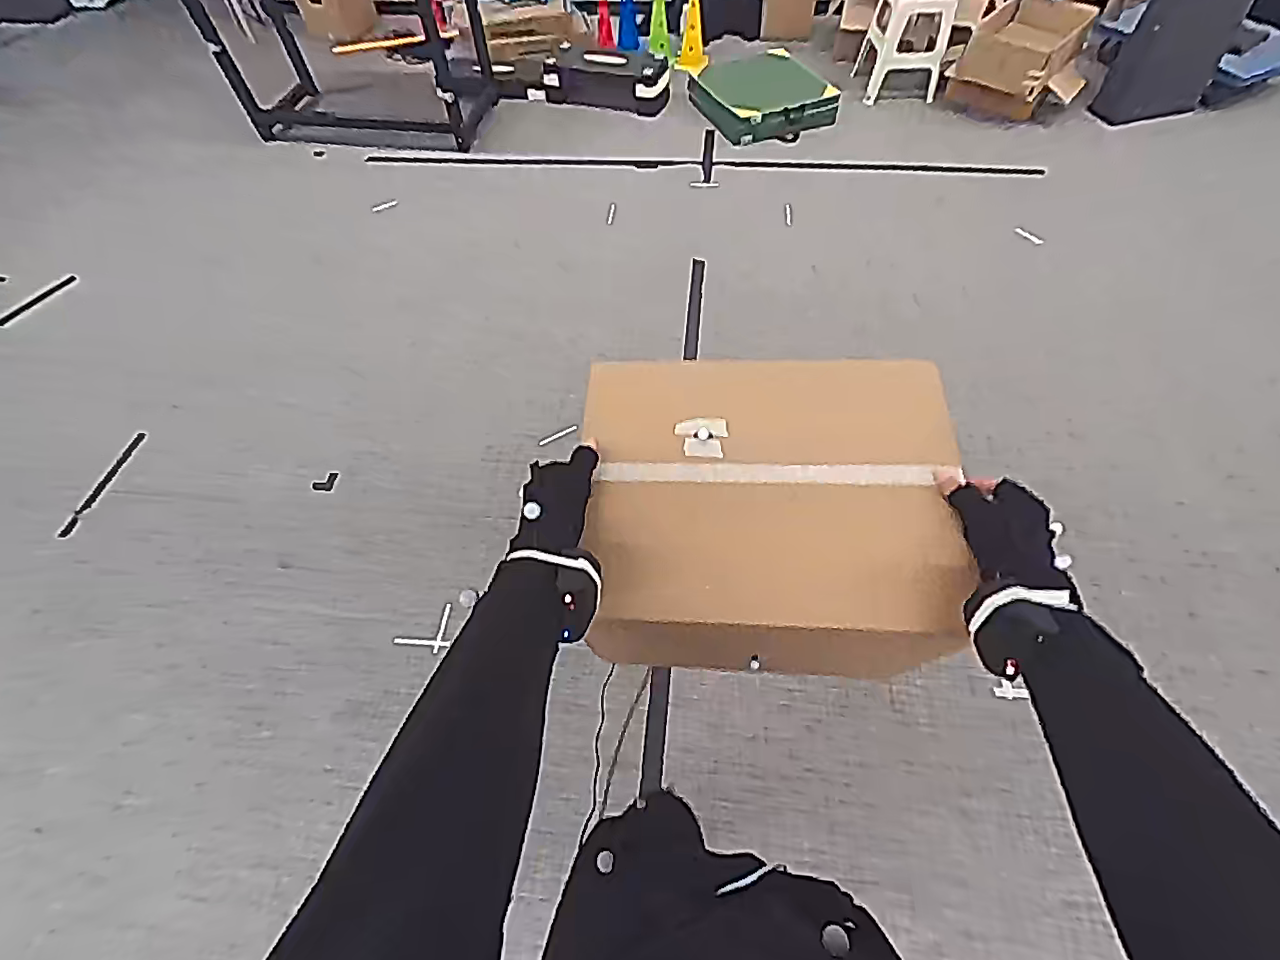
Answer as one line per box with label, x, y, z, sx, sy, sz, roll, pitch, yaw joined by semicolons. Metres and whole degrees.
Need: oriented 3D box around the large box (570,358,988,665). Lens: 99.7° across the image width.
large box;0.152;0.062;0.718;0.408;0.320;0.320;0;62;8
